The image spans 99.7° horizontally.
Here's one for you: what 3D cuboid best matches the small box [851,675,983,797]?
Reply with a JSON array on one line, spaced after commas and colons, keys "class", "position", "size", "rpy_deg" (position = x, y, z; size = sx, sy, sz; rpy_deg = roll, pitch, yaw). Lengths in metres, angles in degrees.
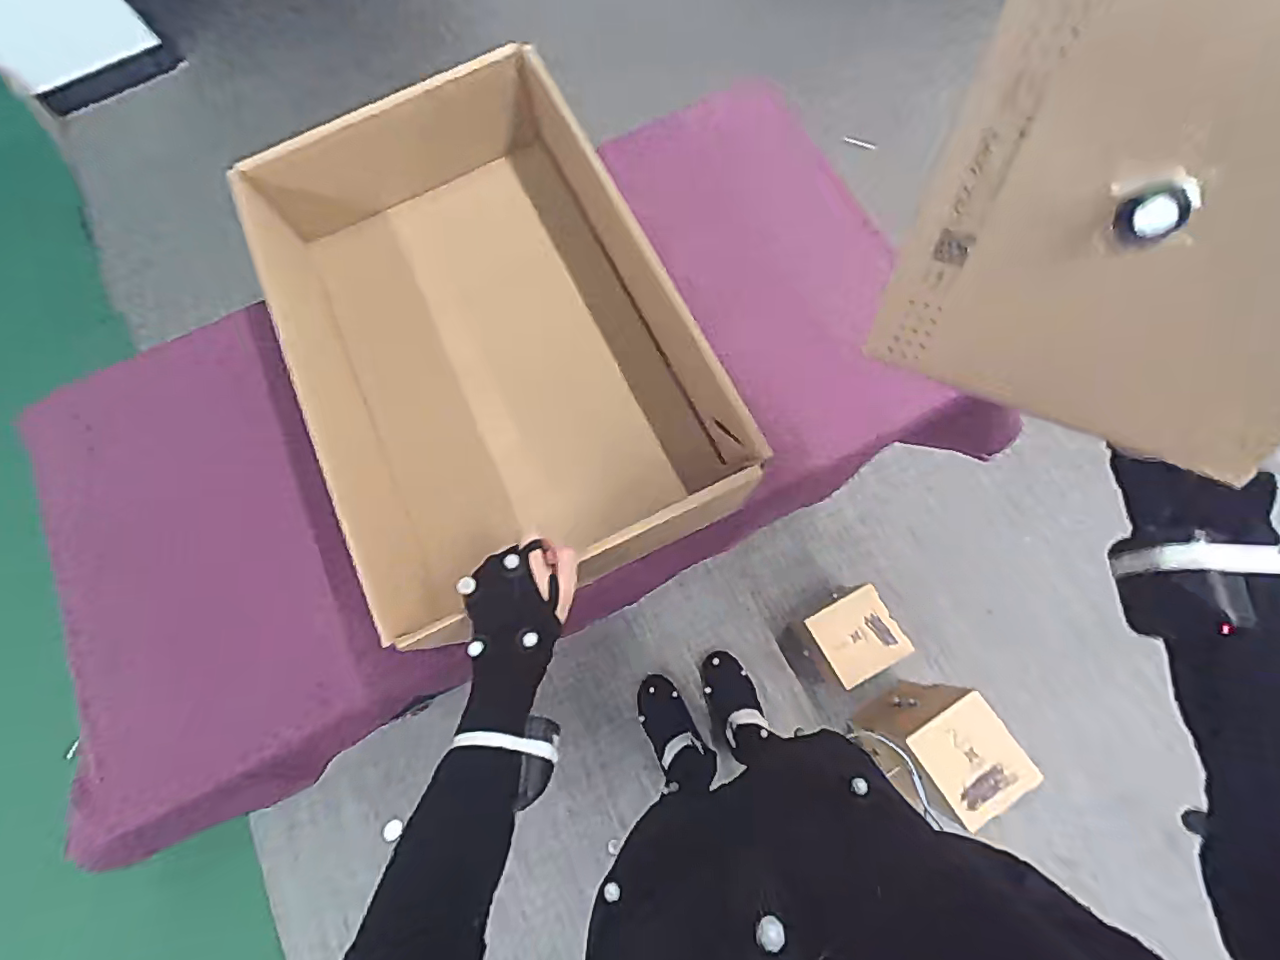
[{"class": "small box", "position": [0.594, 0.553, 1.193], "size": [0.179, 0.176, 0.168], "rpy_deg": [-32, 75, -6]}]
